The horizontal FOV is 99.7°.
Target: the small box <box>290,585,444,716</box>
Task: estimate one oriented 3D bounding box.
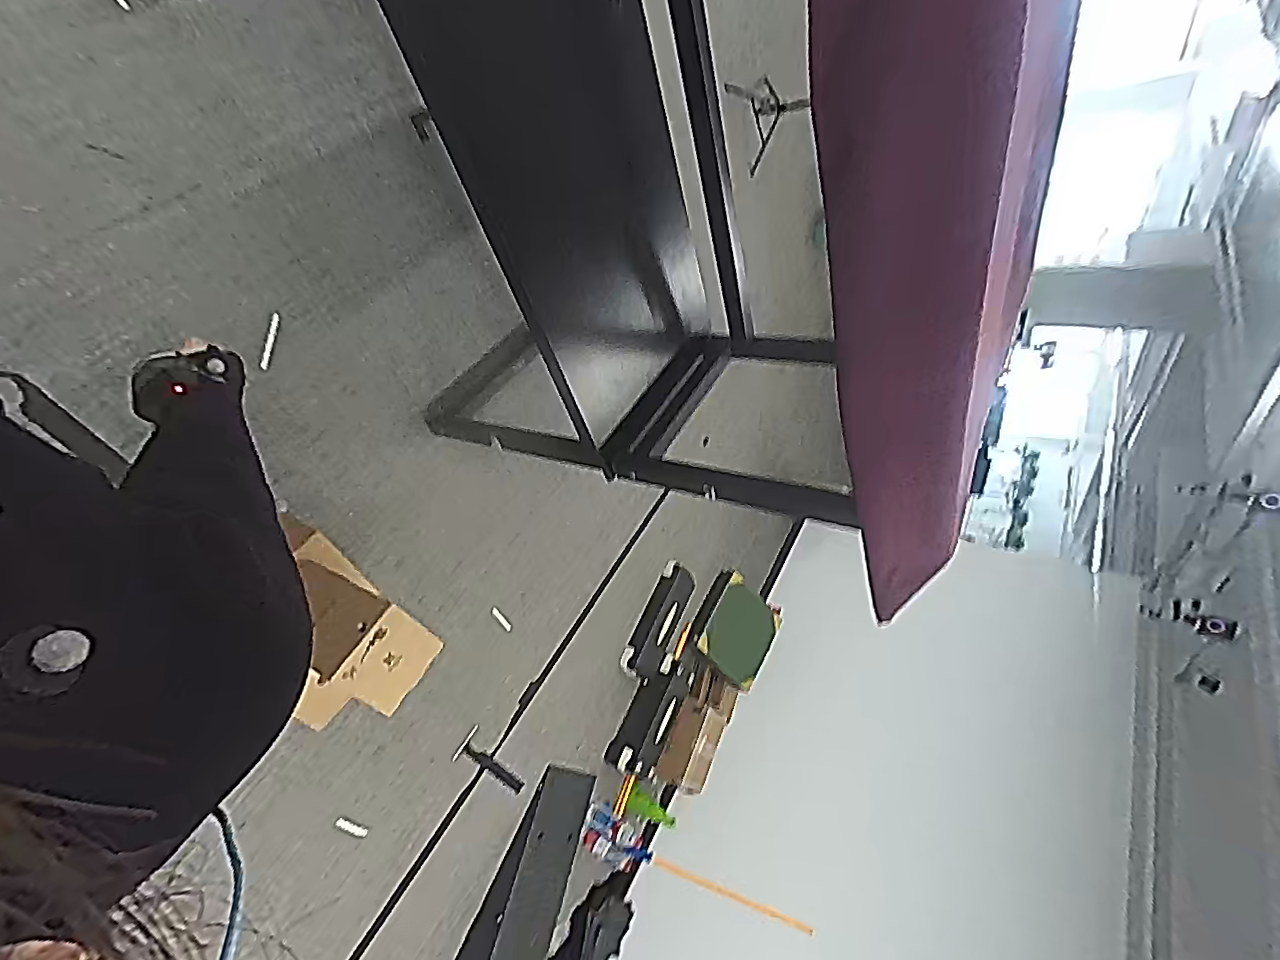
[{"bbox_3d":[-0.537,0.332,1.073,0.168,0.176,0.179,-58,143,-31],"label":"small box"}]

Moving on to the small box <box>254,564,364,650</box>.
[{"bbox_3d":[-0.671,0.304,1.163,0.168,0.176,0.179,-55,140,-33],"label":"small box"}]

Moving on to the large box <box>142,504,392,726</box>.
[{"bbox_3d":[-0.864,0.323,1.328,0.320,0.320,0.408,-52,140,-32],"label":"large box"}]
